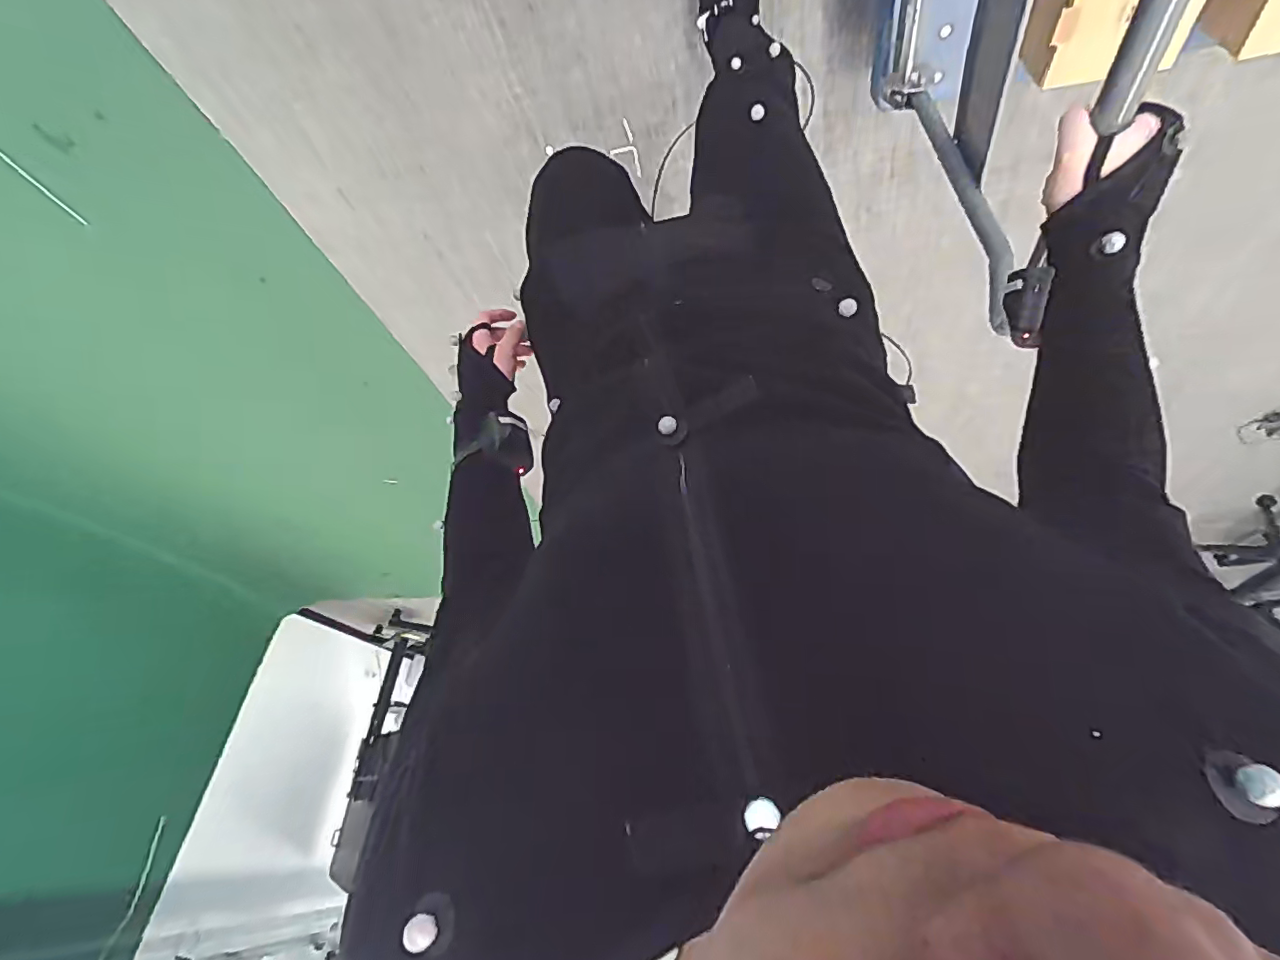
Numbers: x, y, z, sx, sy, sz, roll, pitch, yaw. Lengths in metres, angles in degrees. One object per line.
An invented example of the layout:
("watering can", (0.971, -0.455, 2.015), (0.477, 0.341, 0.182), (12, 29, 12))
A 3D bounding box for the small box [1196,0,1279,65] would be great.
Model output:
("small box", (0.944, -0.724, 0.748), (0.179, 0.176, 0.168), (-3, 147, 16))

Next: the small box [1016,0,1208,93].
("small box", (0.702, -0.719, 0.803), (0.179, 0.176, 0.168), (0, 148, 13))
